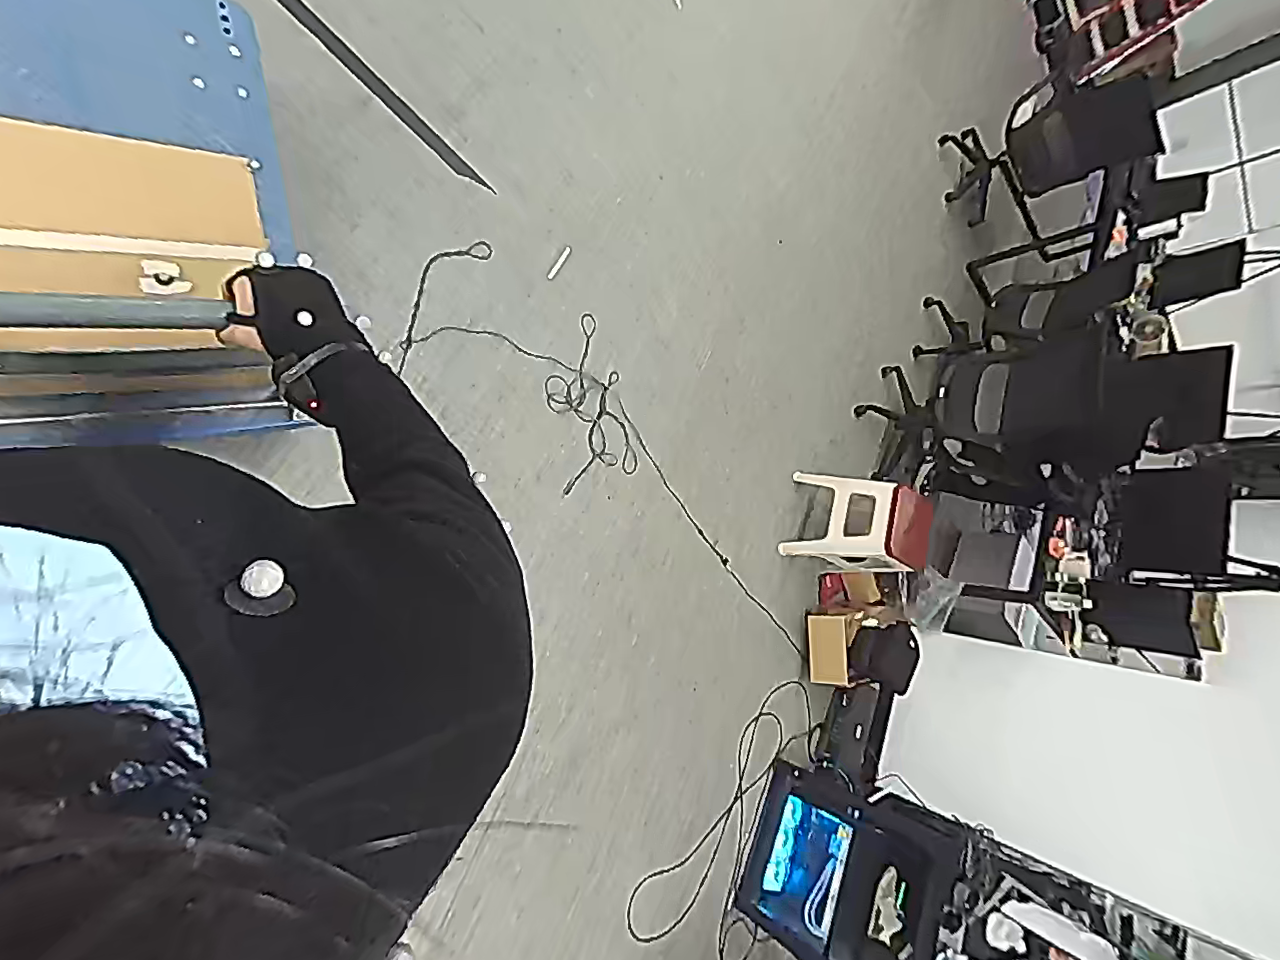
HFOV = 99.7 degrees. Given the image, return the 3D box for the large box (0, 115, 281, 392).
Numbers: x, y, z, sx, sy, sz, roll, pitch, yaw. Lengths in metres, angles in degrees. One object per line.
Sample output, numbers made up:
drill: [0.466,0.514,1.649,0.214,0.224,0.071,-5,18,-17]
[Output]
large box: [-0.858,-0.330,0.869,0.408,0.320,0.320,-12,96,-39]
